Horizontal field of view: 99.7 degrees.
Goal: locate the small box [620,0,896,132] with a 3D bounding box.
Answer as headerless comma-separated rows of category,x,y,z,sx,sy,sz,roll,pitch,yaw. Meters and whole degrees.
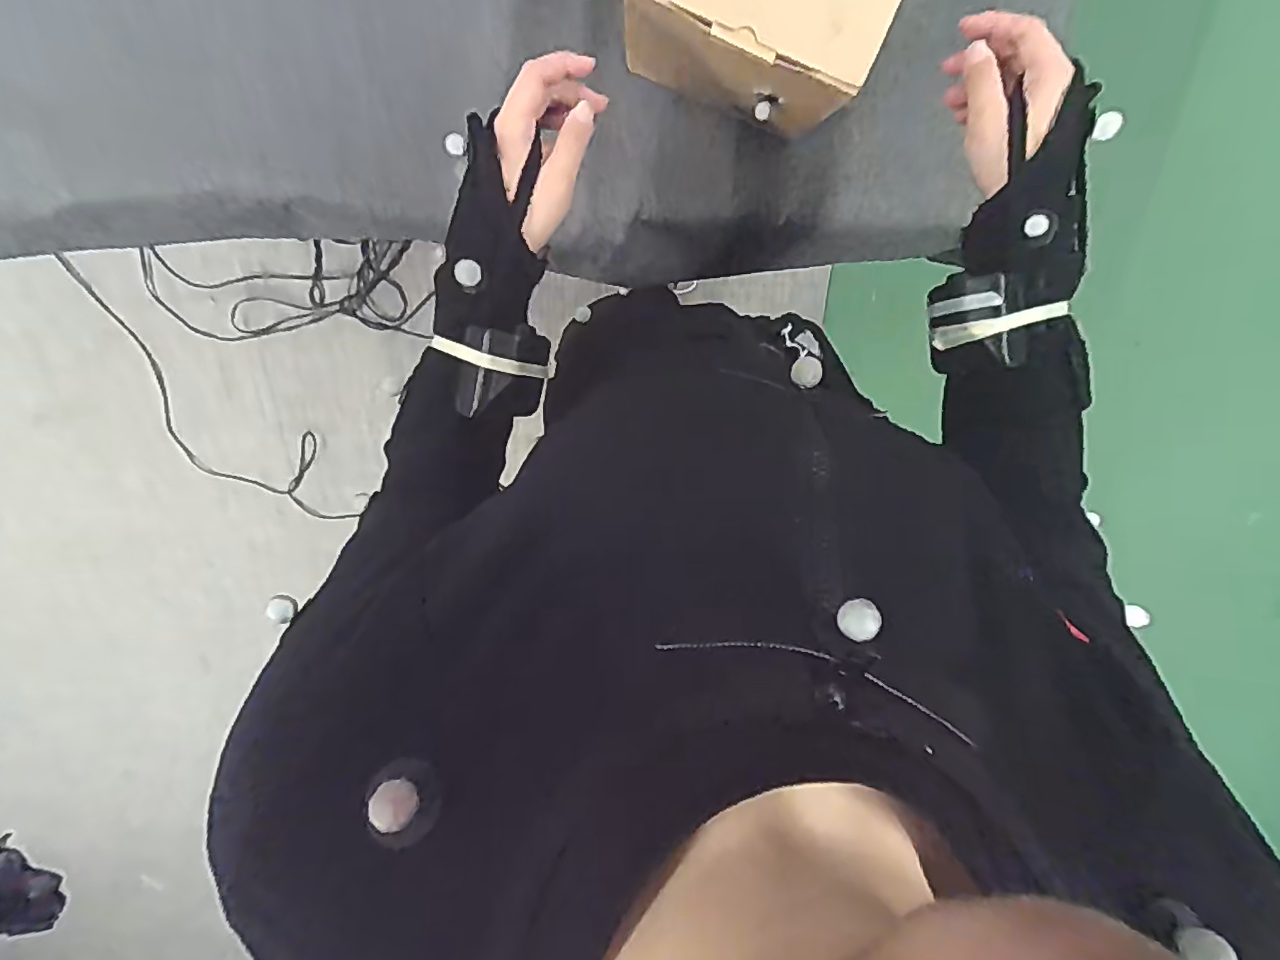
small box,0.092,-0.380,0.380,0.168,0.176,0.179,18,110,-8
